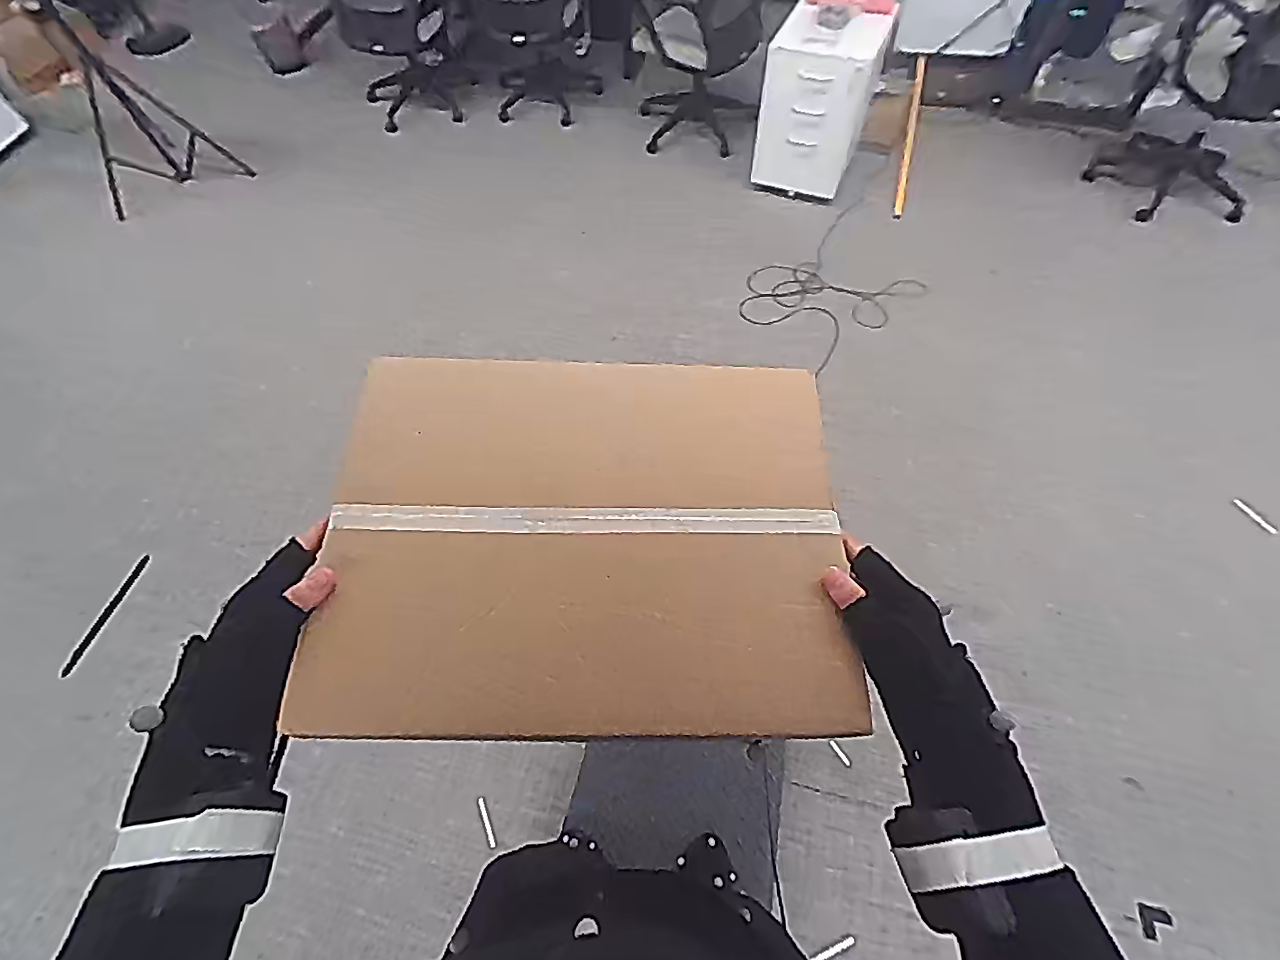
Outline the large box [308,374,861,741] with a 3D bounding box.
[{"bbox_3d":[-0.040,0.103,0.581,0.408,0.320,0.320,1,64,-2],"label":"large box"}]
